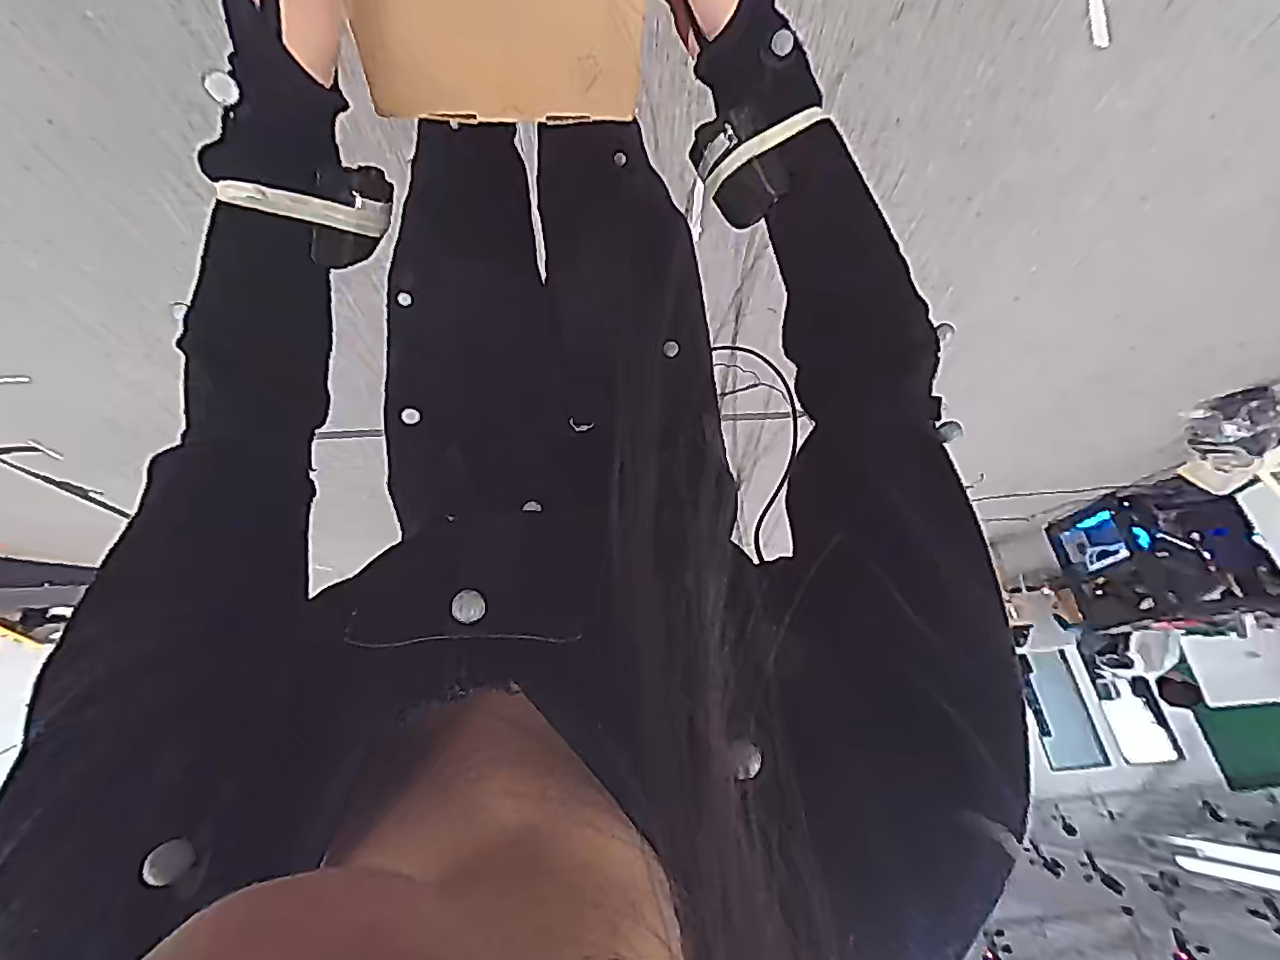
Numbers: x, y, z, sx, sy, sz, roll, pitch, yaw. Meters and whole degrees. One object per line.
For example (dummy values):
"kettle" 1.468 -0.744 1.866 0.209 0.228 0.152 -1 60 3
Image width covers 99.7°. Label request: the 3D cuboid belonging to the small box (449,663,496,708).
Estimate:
"small box" -0.758 0.935 2.460 0.179 0.176 0.168 -3 155 -6
